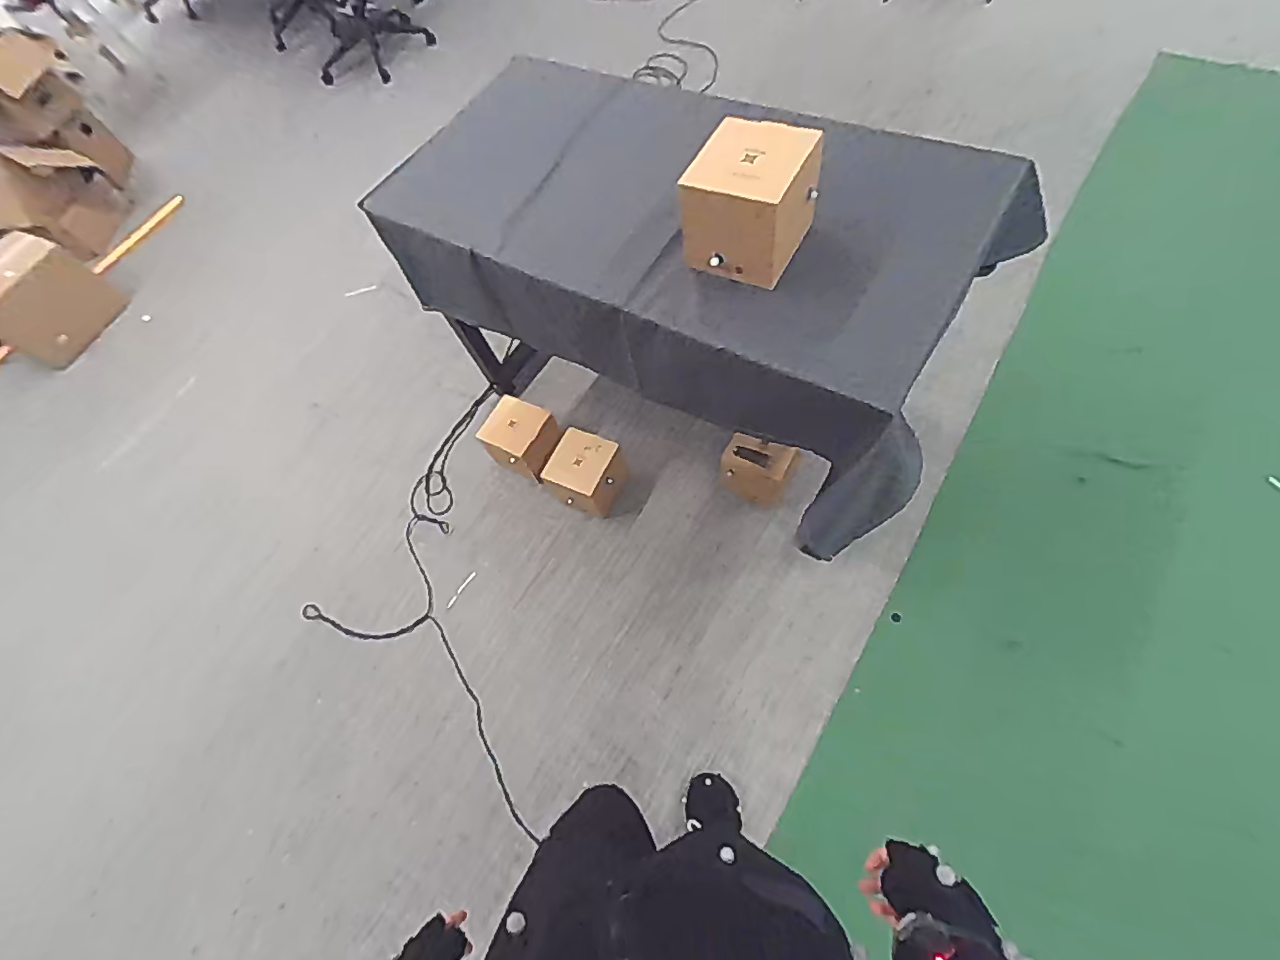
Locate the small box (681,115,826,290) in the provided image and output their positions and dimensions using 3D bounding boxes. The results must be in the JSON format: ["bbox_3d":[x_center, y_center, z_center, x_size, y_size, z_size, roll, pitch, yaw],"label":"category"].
[{"bbox_3d":[0.182,-0.449,0.884,0.168,0.176,0.179,25,70,21],"label":"small box"}]
